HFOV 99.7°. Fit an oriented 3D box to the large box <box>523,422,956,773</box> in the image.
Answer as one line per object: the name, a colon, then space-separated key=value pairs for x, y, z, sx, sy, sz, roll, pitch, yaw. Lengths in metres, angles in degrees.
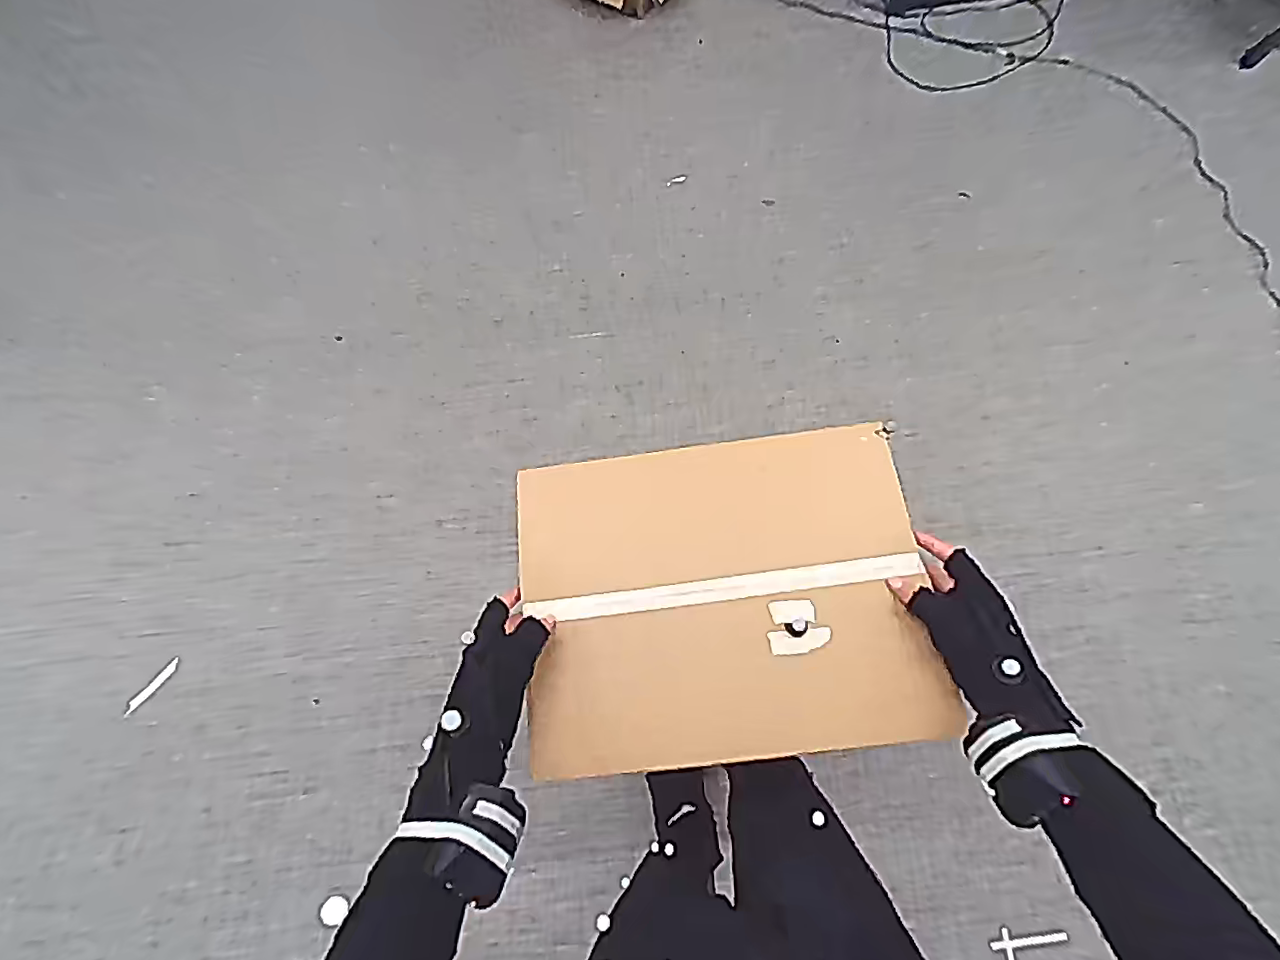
large box: x=0.091 y=0.155 z=0.698 sx=0.408 sy=0.320 sz=0.320 roll=-8 pitch=72 yaw=1
